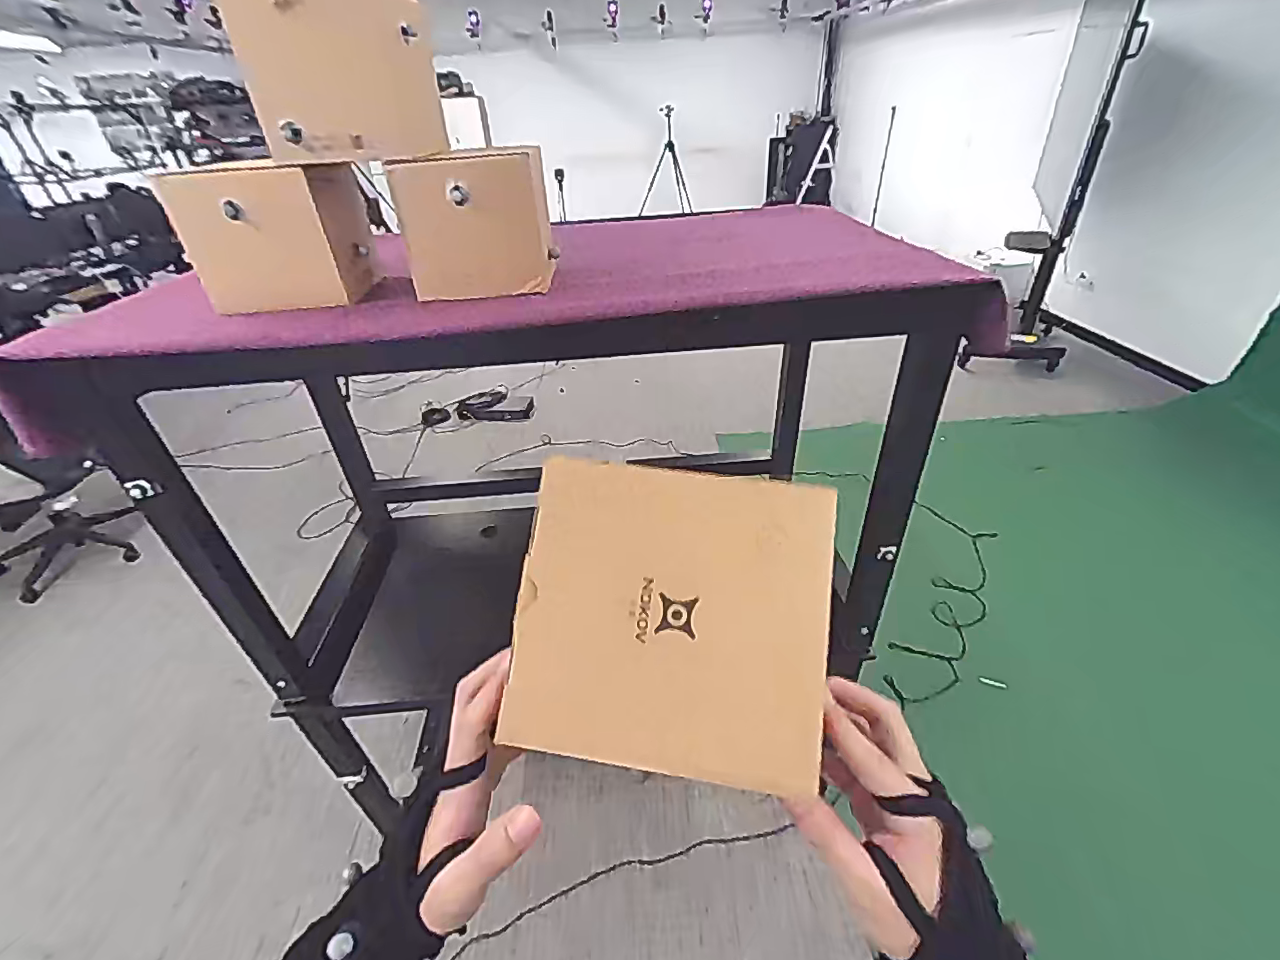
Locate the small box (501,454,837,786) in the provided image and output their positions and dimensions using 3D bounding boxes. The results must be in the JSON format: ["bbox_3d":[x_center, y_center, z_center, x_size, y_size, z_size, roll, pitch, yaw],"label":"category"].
[{"bbox_3d":[0.026,0.087,0.382,0.179,0.176,0.168,5,79,8],"label":"small box"}]

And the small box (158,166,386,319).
[{"bbox_3d":[-0.485,-0.331,0.747,0.179,0.176,0.168,-6,36,-3],"label":"small box"}]

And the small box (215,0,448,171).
[{"bbox_3d":[-0.351,-0.480,0.662,0.168,0.176,0.179,-3,34,0],"label":"small box"}]

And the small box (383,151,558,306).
[{"bbox_3d":[-0.217,-0.347,0.746,0.179,0.176,0.168,-5,35,-1],"label":"small box"}]
